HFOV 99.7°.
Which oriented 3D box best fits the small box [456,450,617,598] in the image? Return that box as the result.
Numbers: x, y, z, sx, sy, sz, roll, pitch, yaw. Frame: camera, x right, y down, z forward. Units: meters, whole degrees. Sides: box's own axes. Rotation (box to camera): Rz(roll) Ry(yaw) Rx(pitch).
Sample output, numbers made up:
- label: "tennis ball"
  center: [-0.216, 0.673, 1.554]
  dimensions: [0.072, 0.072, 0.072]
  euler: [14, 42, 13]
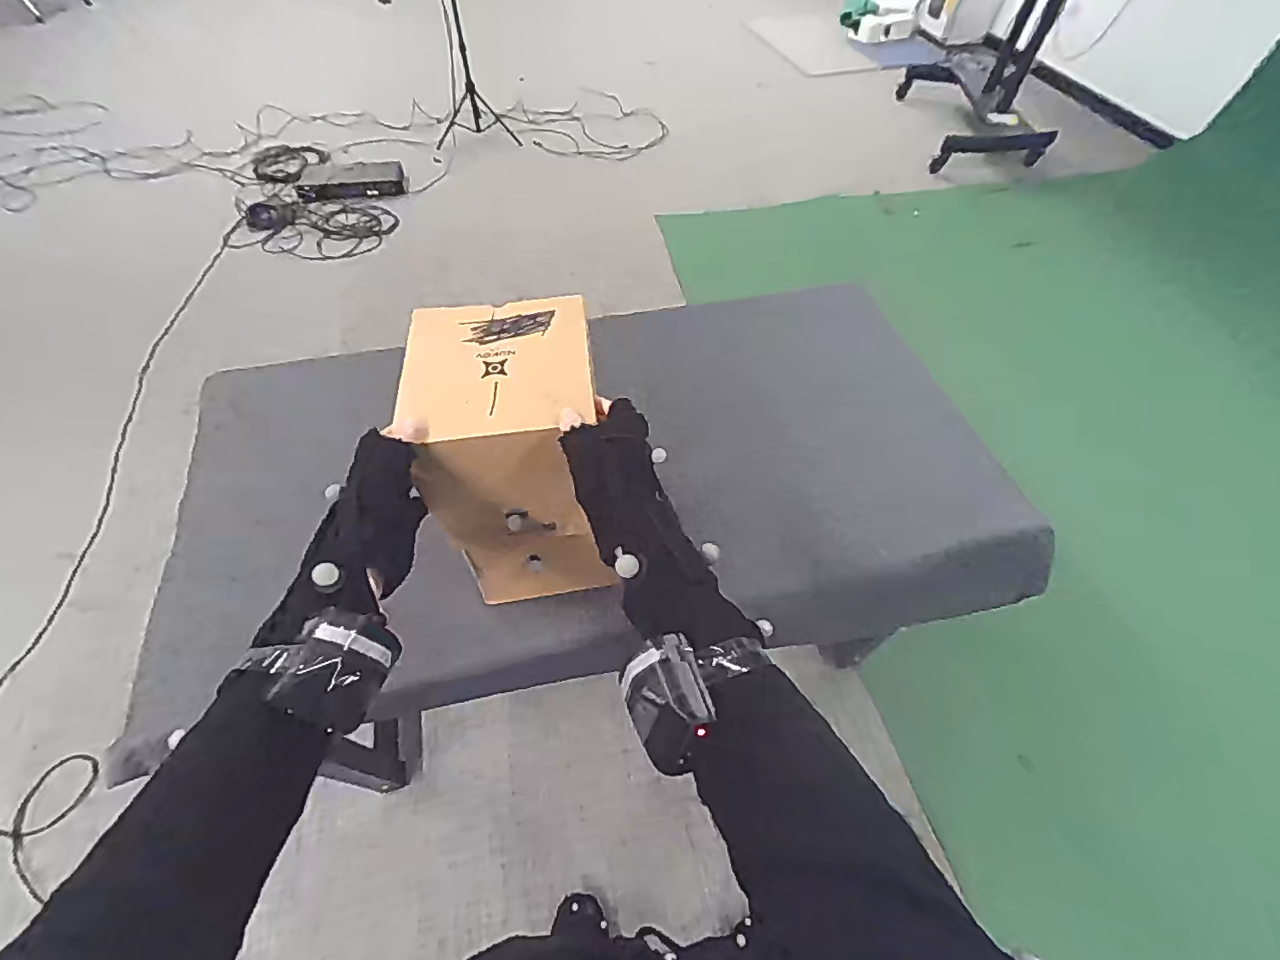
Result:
- label: "small box"
  center: [-0.126, 0.037, 0.695]
  dimensions: [0.179, 0.176, 0.168]
  euler: [-8, 55, -8]

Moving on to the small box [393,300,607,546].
- label: "small box"
  center: [-0.124, -0.055, 0.547]
  dimensions: [0.168, 0.176, 0.179]
  euler: [-6, 54, -3]
